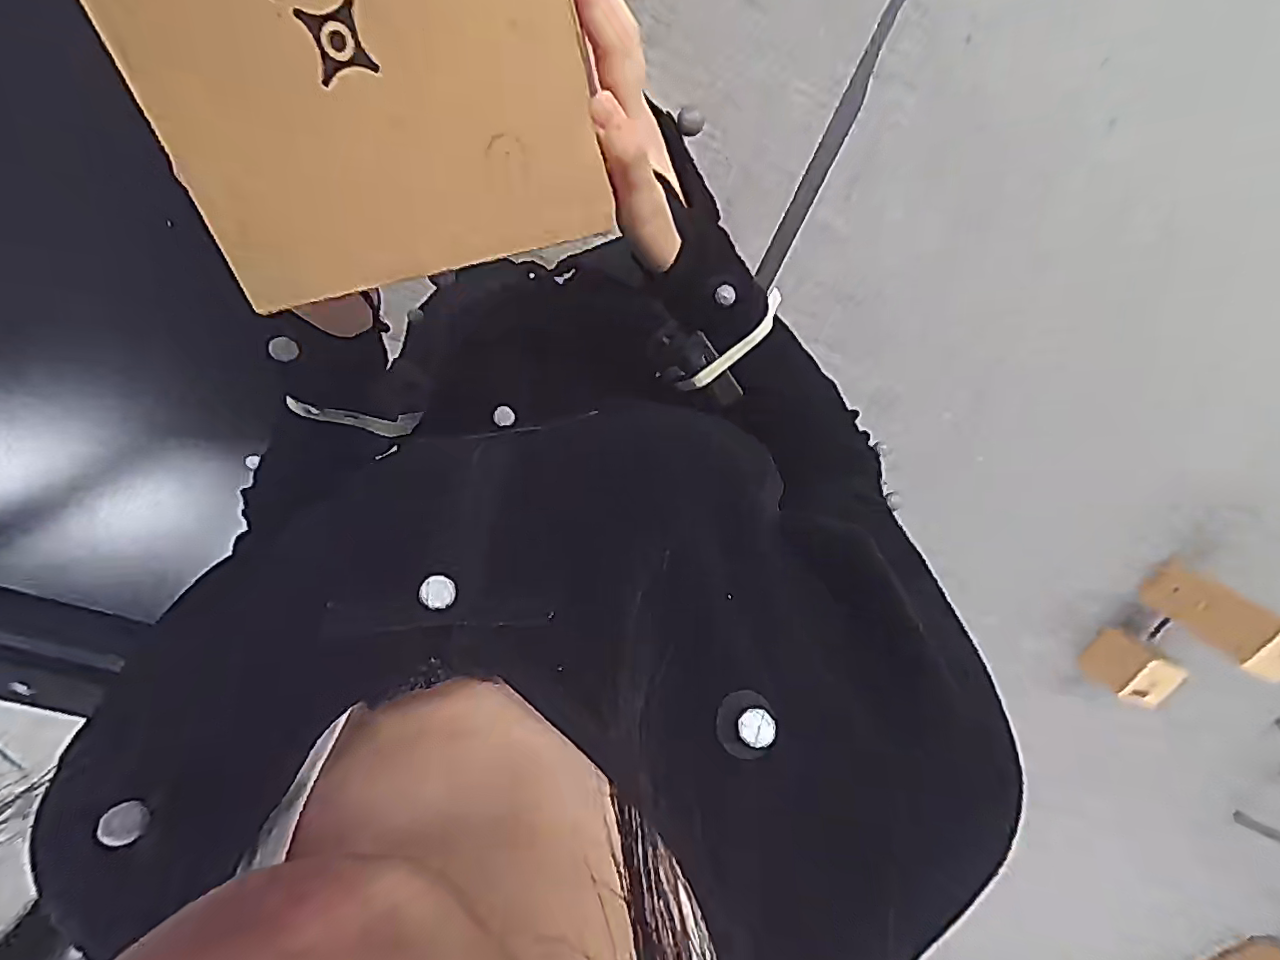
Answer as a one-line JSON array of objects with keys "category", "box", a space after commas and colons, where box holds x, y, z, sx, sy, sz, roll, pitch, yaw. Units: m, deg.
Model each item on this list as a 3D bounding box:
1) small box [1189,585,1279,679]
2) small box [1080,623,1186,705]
[{"category": "small box", "box": [1.783, 0.441, 1.581, 0.168, 0.176, 0.179, 20, 112, -13]}, {"category": "small box", "box": [1.661, 0.622, 1.839, 0.168, 0.176, 0.179, 20, 111, -11]}]
